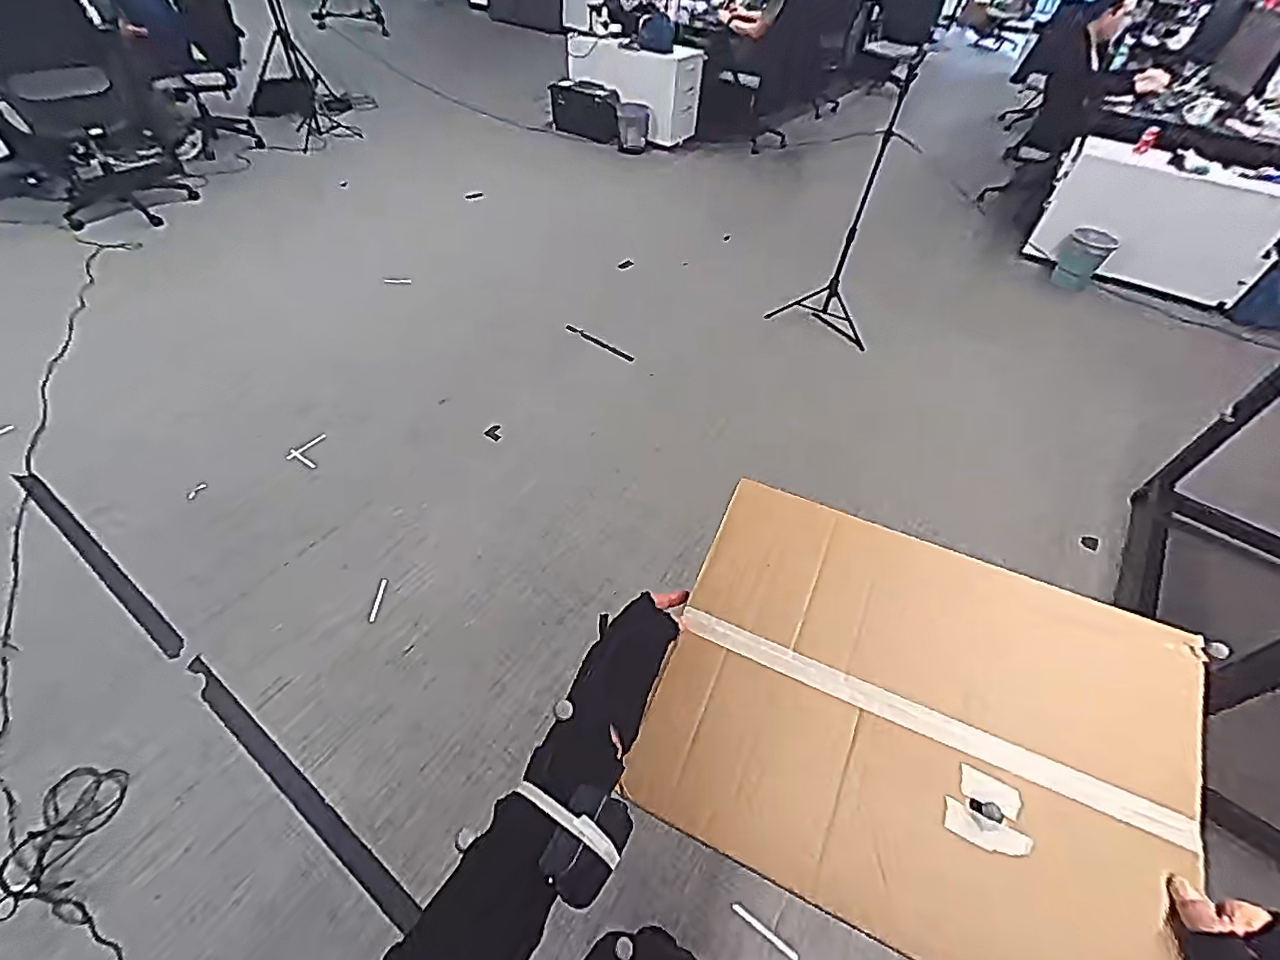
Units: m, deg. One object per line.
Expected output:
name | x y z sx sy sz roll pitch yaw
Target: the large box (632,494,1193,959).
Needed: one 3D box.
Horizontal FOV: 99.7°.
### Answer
large box | 0.244 0.269 0.591 0.408 0.320 0.320 21 67 16
